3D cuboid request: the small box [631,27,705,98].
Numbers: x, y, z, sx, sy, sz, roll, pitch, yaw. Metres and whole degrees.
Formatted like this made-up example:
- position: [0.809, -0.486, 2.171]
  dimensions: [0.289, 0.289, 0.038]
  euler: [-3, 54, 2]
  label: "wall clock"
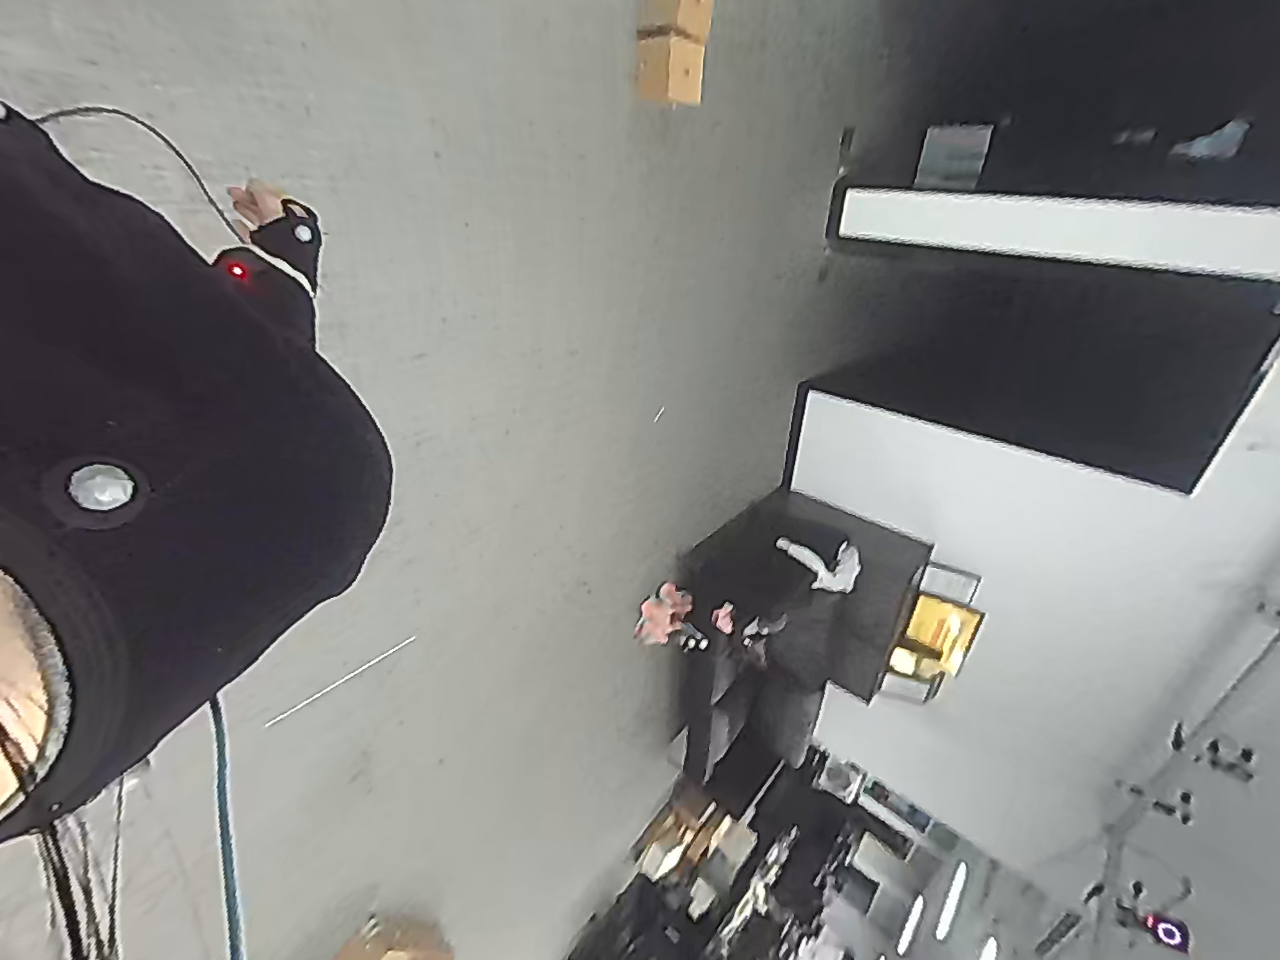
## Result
- position: [0.090, -1.373, 1.788]
  dimensions: [0.179, 0.176, 0.168]
  euler: [-28, 131, -39]
  label: "small box"
